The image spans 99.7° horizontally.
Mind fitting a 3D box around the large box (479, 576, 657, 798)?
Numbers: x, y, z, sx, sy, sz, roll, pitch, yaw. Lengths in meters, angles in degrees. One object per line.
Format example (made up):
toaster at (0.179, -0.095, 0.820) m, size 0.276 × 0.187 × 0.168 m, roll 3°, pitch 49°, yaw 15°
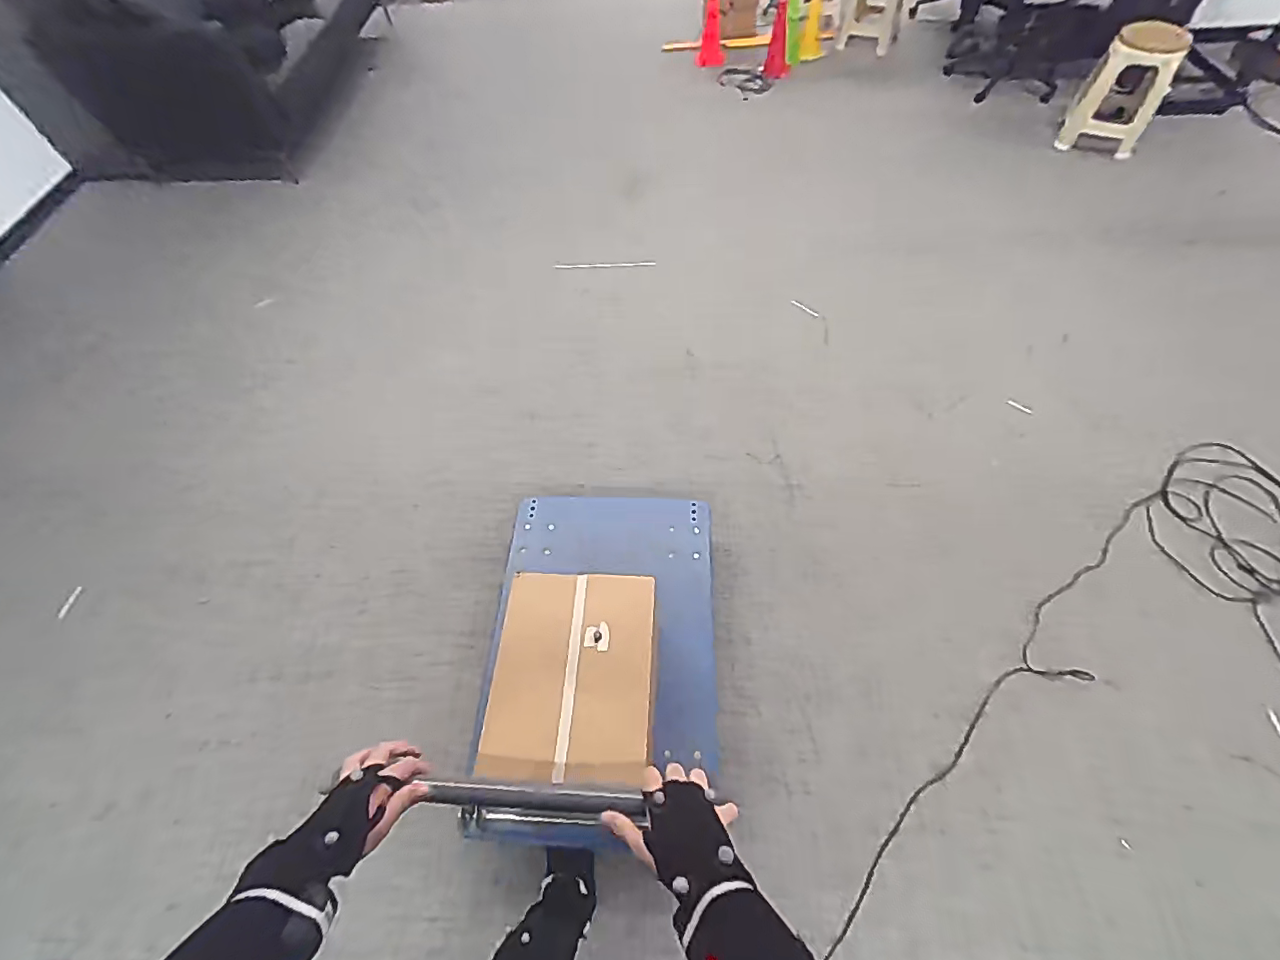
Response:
large box at (-0.126, 0.464, 1.206) m, size 0.320 × 0.320 × 0.408 m, roll 2°, pitch 56°, yaw 4°
